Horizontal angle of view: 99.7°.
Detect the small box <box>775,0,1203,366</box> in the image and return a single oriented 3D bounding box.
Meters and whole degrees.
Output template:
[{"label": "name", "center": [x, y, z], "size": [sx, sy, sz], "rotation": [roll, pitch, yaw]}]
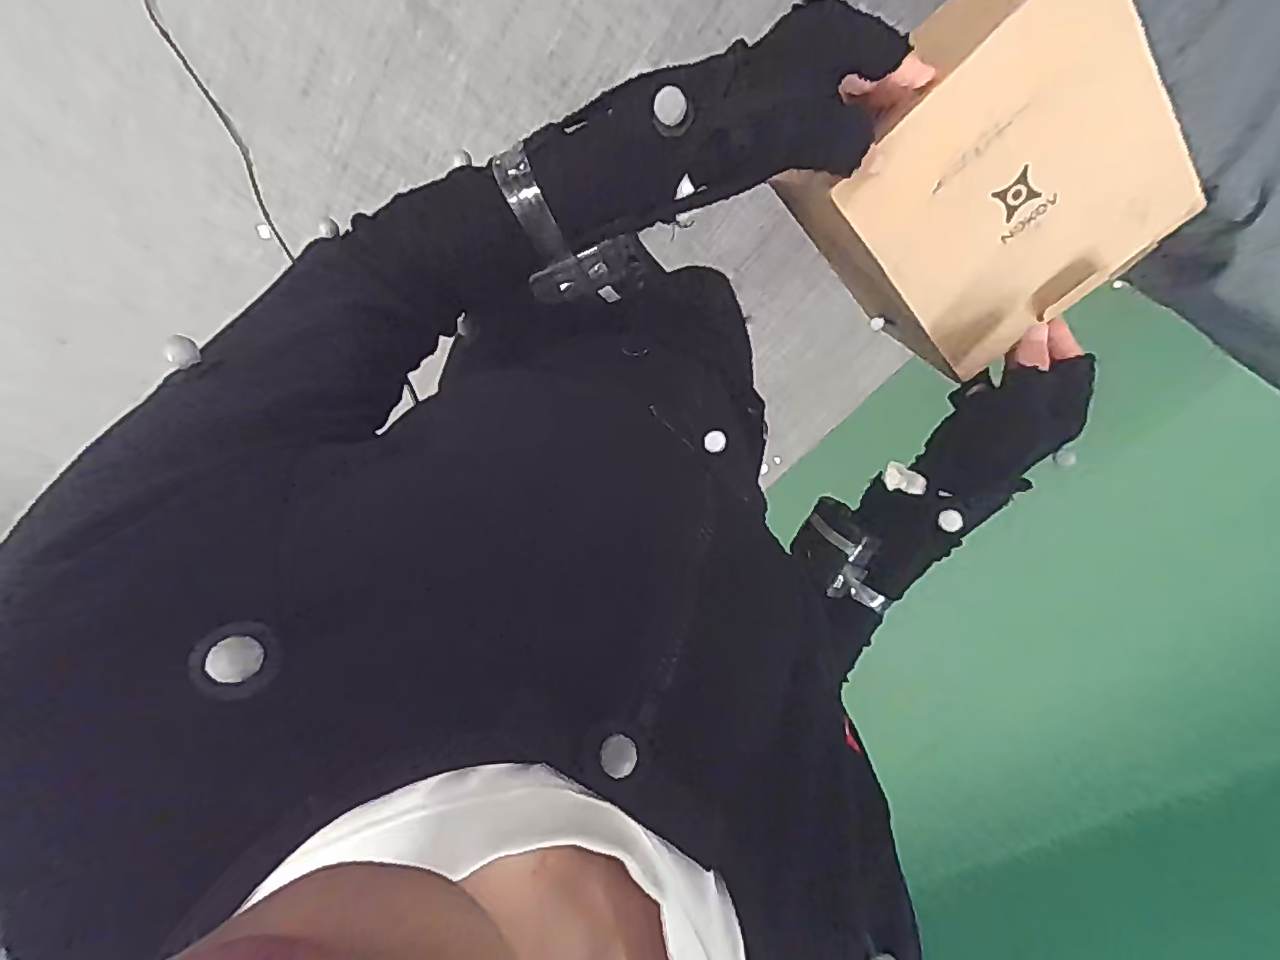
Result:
[{"label": "small box", "center": [0.229, -0.222, 0.399], "size": [0.179, 0.176, 0.168], "rotation": [40, 111, -22]}]
